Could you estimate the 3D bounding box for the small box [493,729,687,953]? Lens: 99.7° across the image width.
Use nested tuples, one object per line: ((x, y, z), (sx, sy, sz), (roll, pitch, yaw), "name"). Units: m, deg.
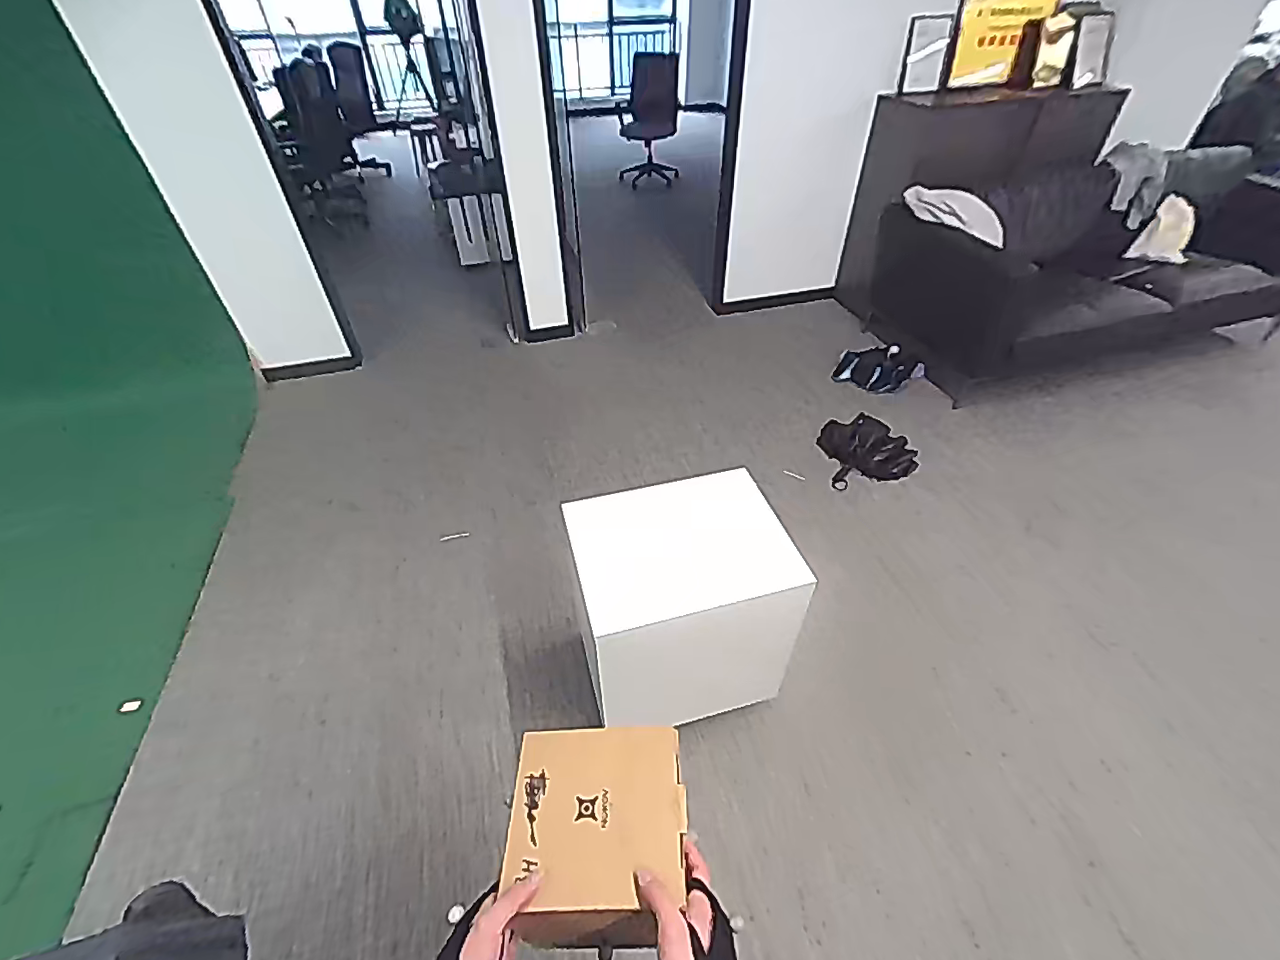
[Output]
((-0.041, 0.393, 0.592), (0.179, 0.176, 0.168), (-2, 39, 2), "small box")
